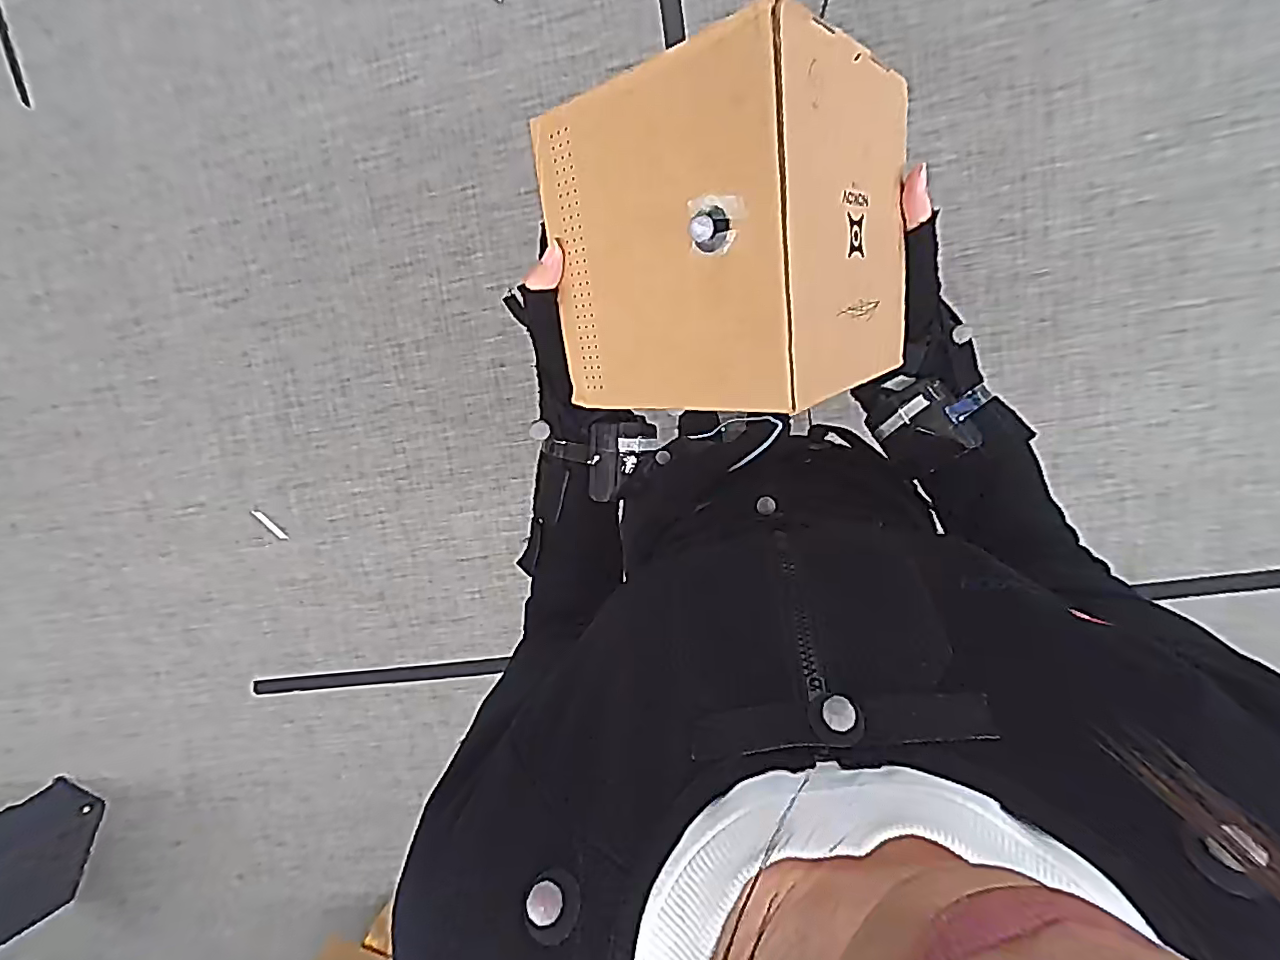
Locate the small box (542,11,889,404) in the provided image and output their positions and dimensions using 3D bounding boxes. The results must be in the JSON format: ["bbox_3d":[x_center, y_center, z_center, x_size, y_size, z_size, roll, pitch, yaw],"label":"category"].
[{"bbox_3d":[0.054,-0.150,0.364,0.176,0.168,0.179,8,111,41],"label":"small box"}]
